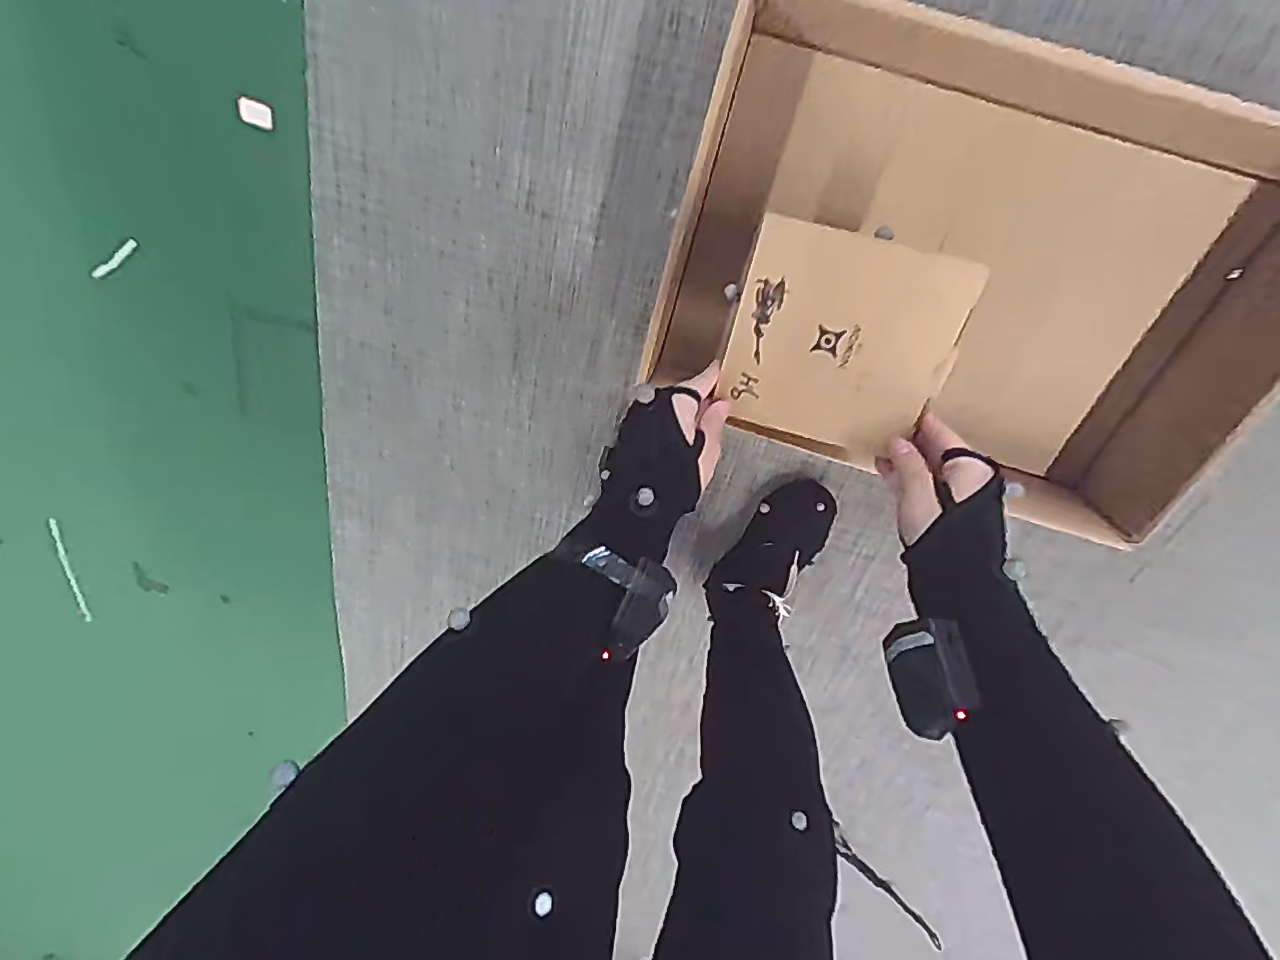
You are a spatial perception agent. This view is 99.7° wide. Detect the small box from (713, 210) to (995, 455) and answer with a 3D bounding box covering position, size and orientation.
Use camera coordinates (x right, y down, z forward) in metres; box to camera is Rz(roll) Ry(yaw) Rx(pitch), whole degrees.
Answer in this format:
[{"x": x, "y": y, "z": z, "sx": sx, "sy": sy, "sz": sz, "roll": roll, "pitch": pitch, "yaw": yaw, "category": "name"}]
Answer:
[{"x": 0.179, "y": -0.146, "z": 0.512, "sx": 0.179, "sy": 0.176, "sz": 0.168, "roll": 16, "pitch": 116, "yaw": 4, "category": "small box"}]
